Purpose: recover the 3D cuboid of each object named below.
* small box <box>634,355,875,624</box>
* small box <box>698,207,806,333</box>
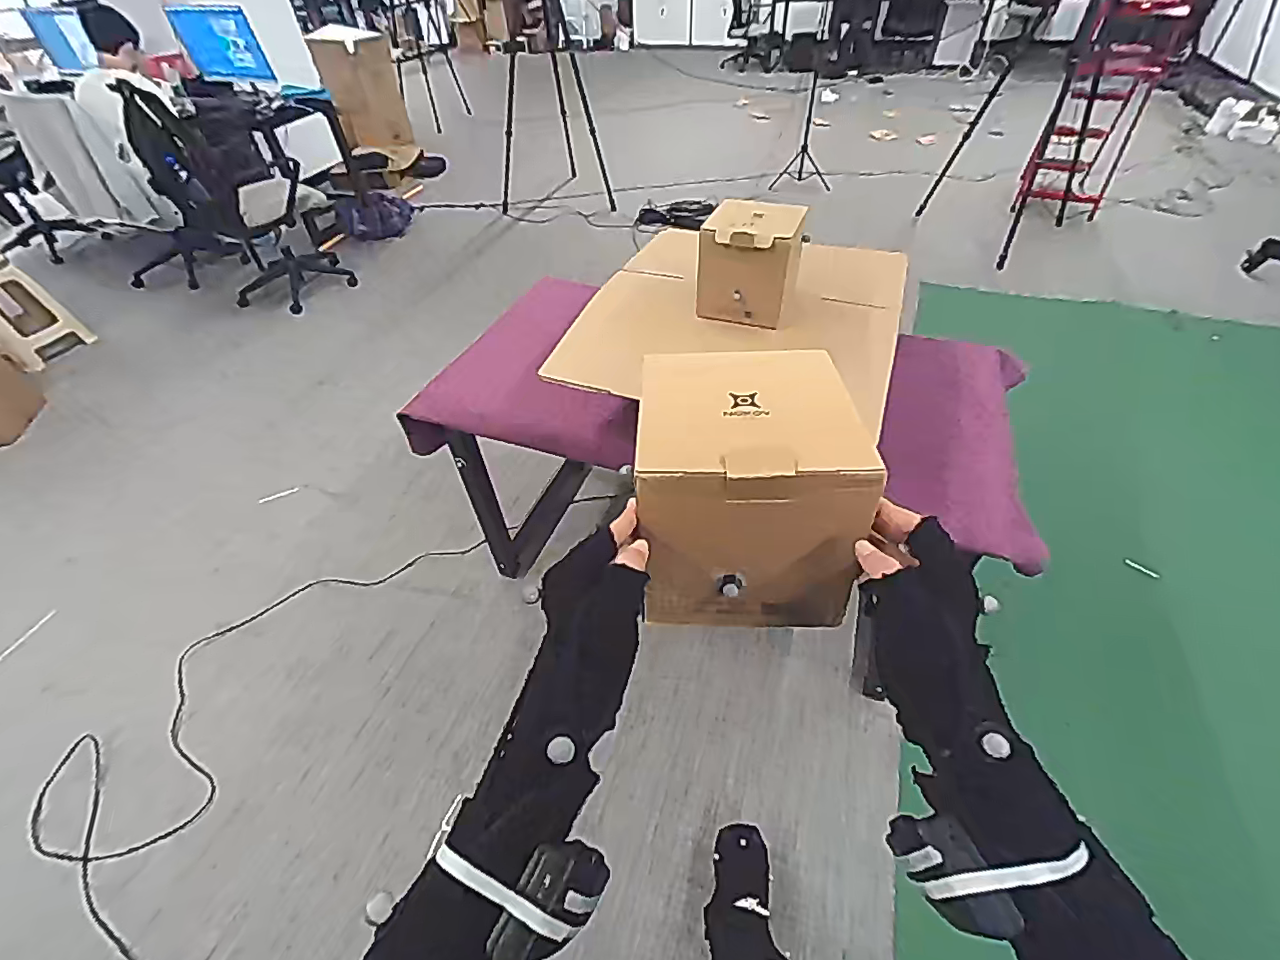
[{"bbox_3d":[0.082,0.004,0.479,0.168,0.176,0.179,-1,40,3],"label":"small box"},{"bbox_3d":[0.215,-0.414,1.062,0.168,0.176,0.179,14,47,17],"label":"small box"}]
